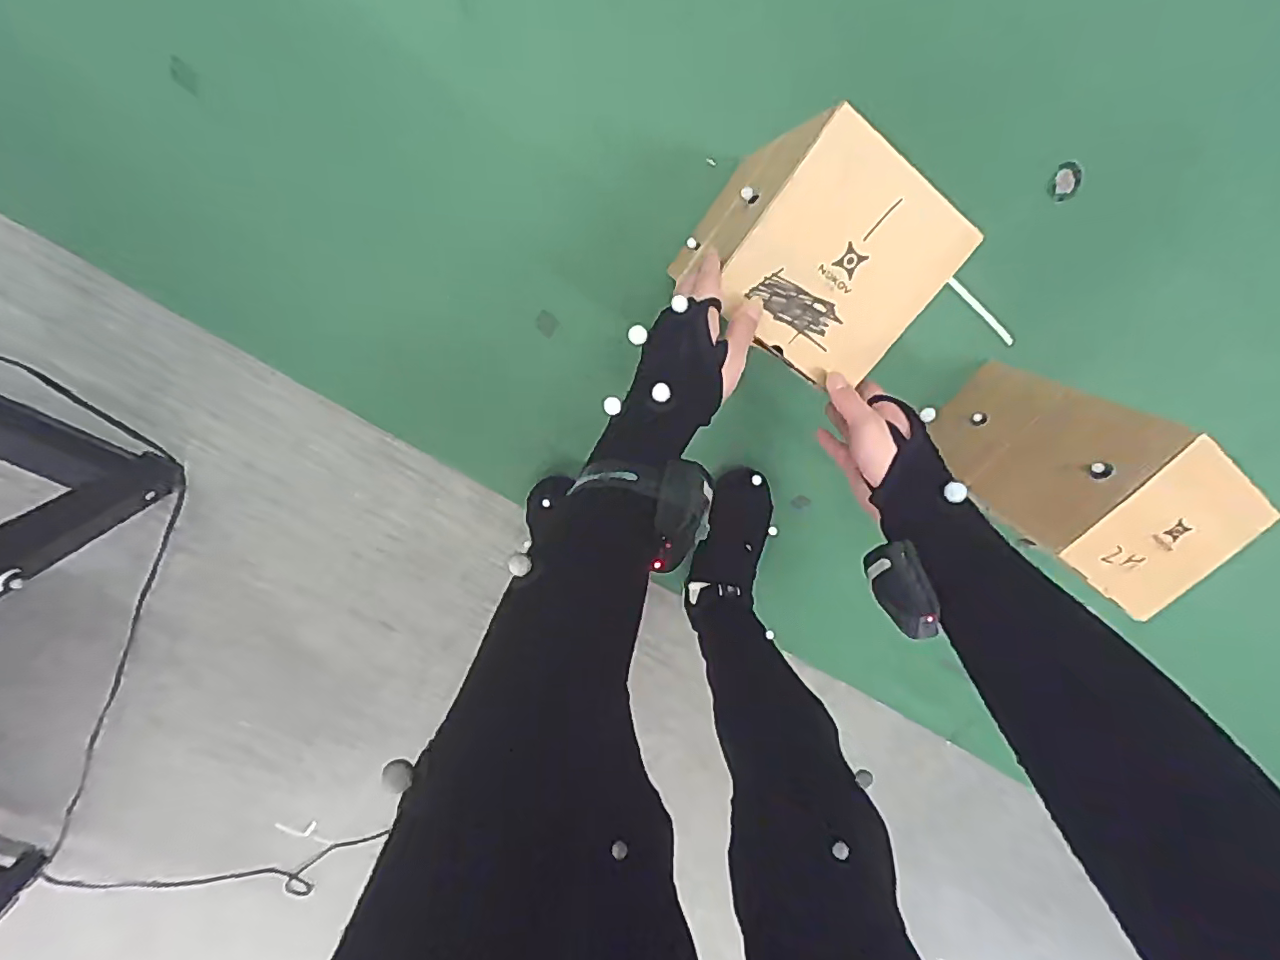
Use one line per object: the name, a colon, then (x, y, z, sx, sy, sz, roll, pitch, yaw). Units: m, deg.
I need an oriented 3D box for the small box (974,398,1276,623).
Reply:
small box: (0.558, 0.027, 0.649, 0.168, 0.176, 0.179, 34, 109, -17)

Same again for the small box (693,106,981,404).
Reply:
small box: (0.166, -0.207, 0.525, 0.168, 0.176, 0.179, 32, 108, -16)

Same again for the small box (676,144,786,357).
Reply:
small box: (0.159, -0.275, 0.674, 0.168, 0.176, 0.179, 32, 109, -16)
